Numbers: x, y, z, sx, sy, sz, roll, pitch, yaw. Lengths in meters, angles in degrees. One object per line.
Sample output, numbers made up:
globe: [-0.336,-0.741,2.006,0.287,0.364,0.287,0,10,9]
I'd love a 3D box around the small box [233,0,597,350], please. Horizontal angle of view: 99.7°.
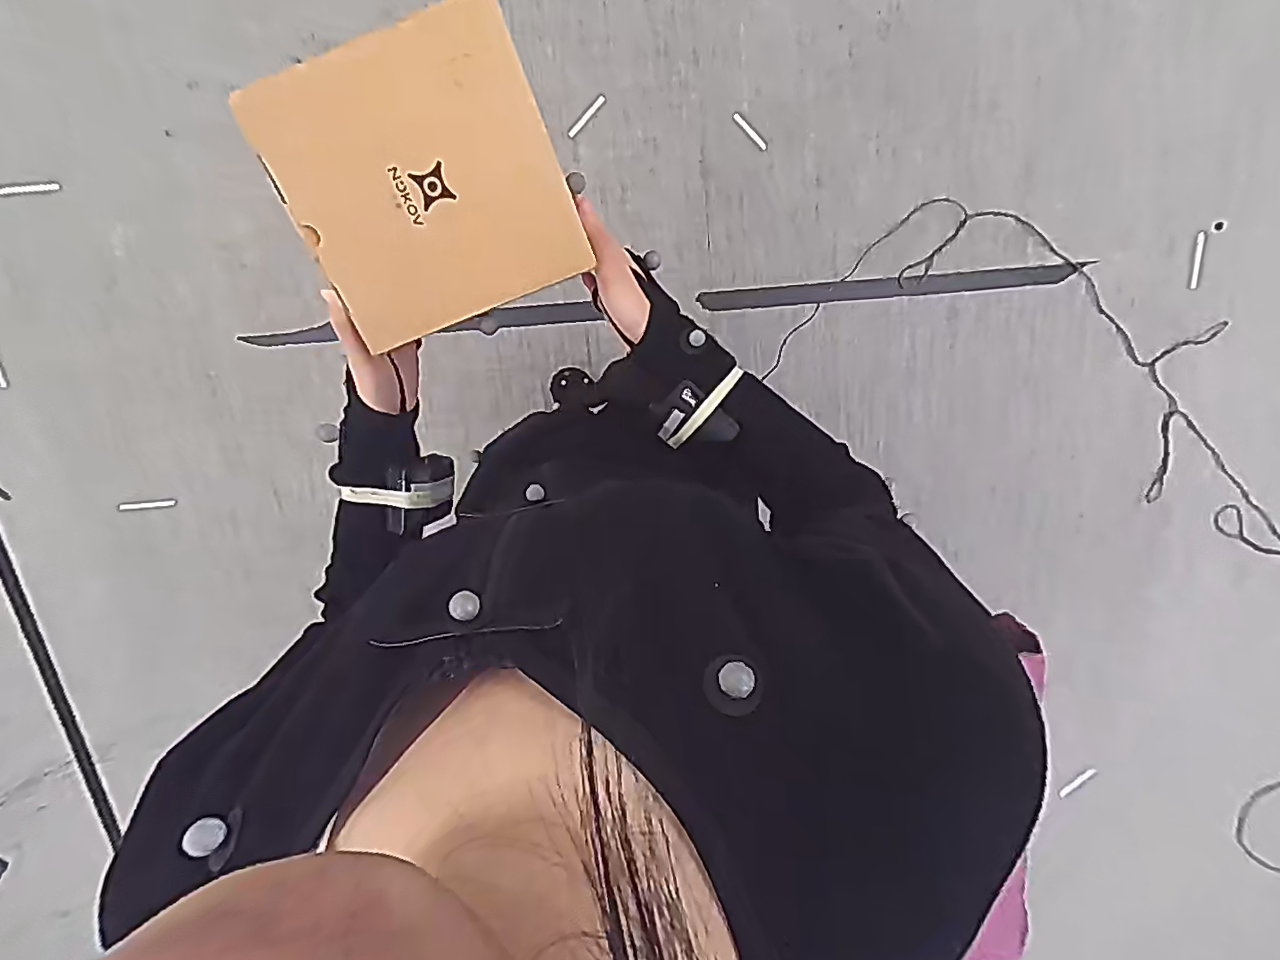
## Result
small box: [-0.145,-0.222,0.422,0.179,0.176,0.168,-21,113,4]

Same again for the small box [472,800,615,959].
small box: [-0.134,0.623,0.819,0.179,0.176,0.168,-7,104,0]
